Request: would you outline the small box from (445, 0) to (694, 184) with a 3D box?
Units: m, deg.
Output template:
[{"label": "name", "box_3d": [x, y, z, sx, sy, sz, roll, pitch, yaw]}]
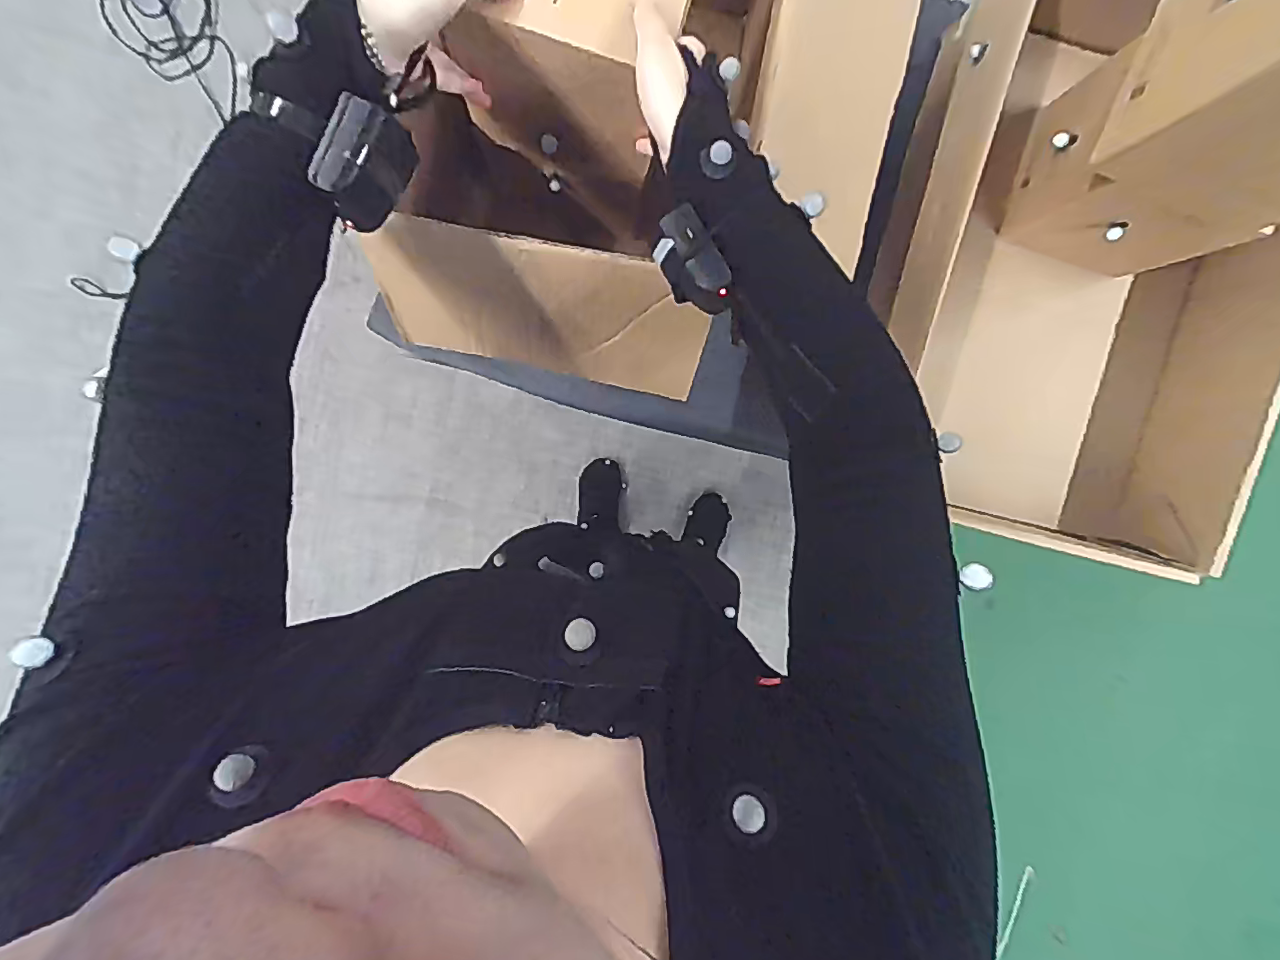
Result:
[{"label": "small box", "box_3d": [-0.044, -0.387, 0.443, 0.168, 0.176, 0.179, 14, 93, -7]}]

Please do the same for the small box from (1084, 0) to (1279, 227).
[{"label": "small box", "box_3d": [0.539, -0.341, 0.453, 0.179, 0.176, 0.168, 21, 96, -5]}]
